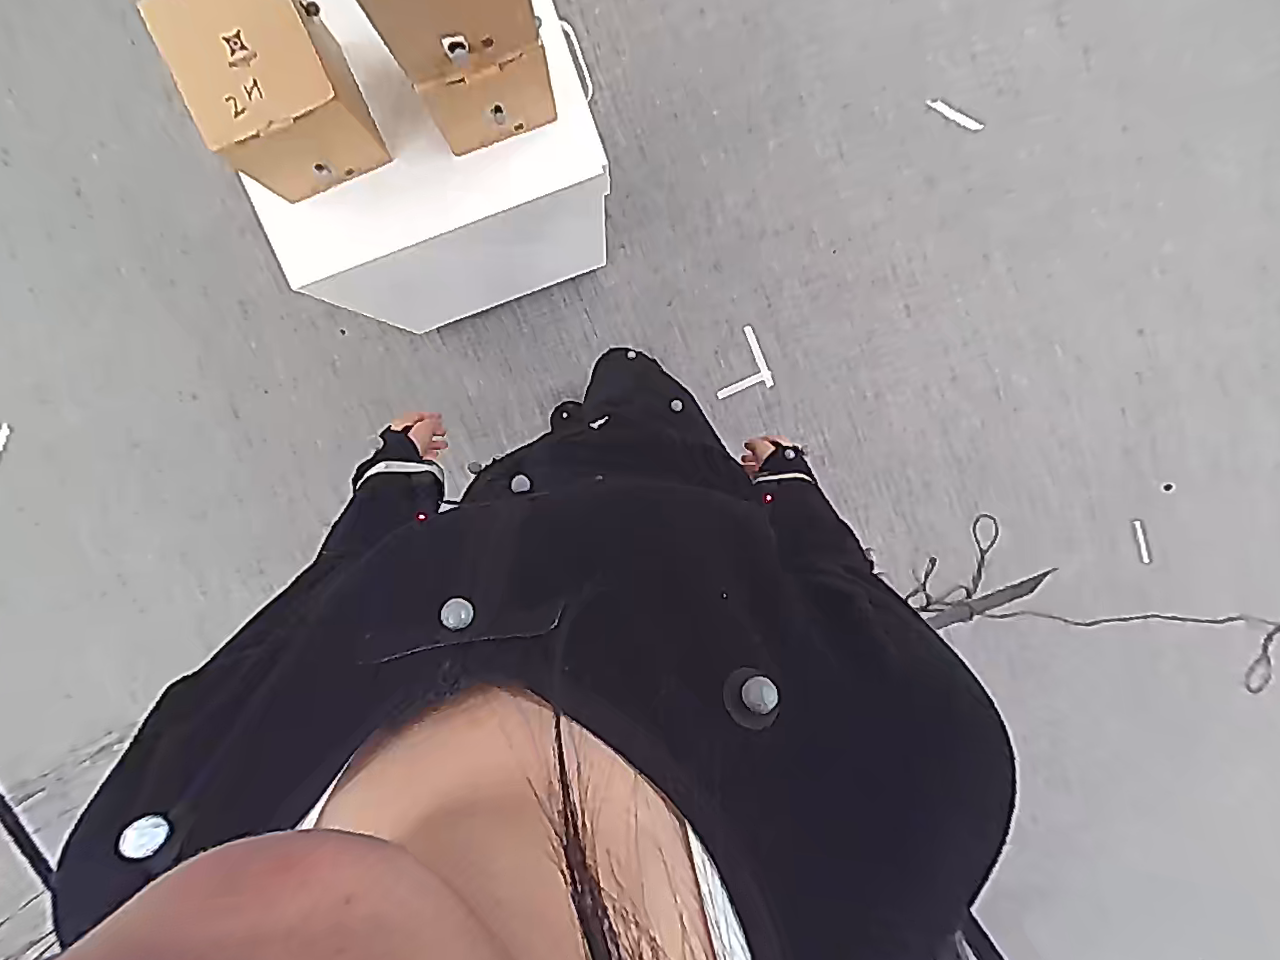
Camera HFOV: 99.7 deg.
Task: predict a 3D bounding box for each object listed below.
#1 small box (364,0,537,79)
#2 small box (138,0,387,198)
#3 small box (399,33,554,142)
[{"bbox_3d":[-0.217,-0.563,0.545,0.168,0.176,0.179,-19,99,1],"label":"small box"},{"bbox_3d":[-0.467,-0.508,0.702,0.168,0.176,0.179,-23,99,0],"label":"small box"},{"bbox_3d":[-0.222,-0.577,0.708,0.168,0.176,0.179,-20,100,1],"label":"small box"}]
